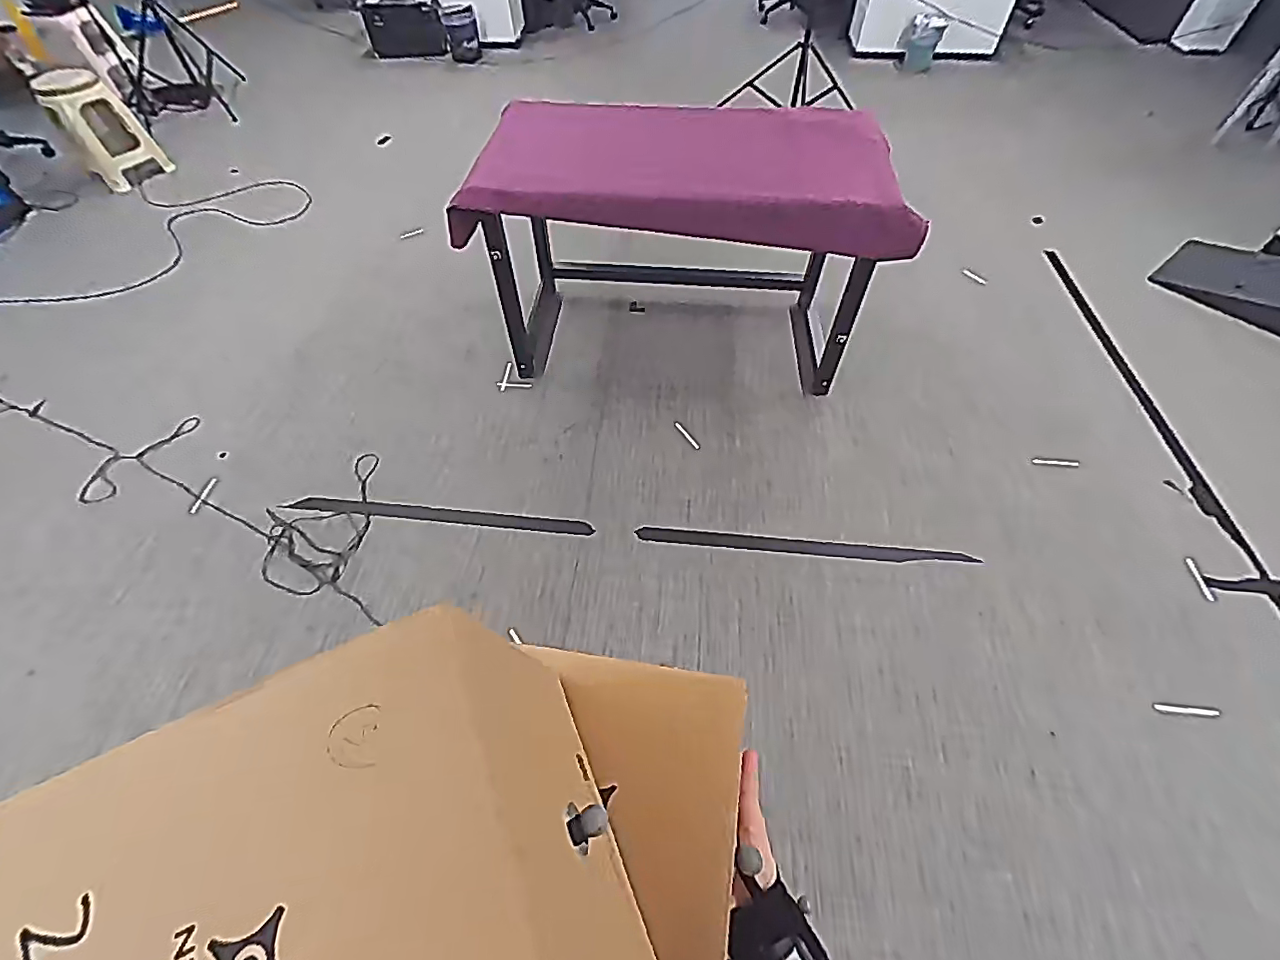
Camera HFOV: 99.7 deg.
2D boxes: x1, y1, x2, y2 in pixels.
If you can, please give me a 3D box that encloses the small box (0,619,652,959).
[{"bbox_3d":[-0.103,0.185,0.232,0.179,0.176,0.168,-25,61,-5],"label":"small box"}]
